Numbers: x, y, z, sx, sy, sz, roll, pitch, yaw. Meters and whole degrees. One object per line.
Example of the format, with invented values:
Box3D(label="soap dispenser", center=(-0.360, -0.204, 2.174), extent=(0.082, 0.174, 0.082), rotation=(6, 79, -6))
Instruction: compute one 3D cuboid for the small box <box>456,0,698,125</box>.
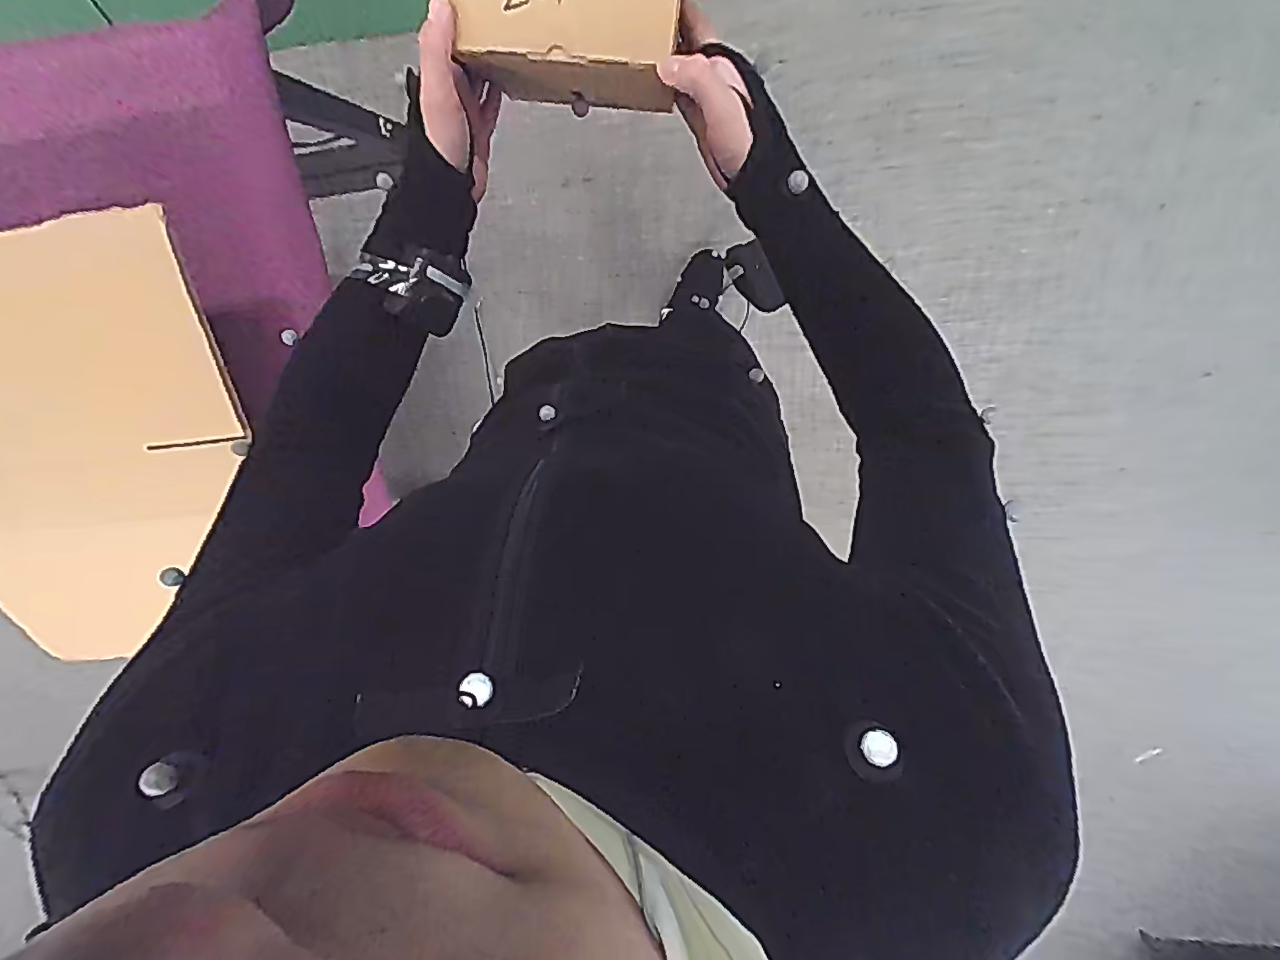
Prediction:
Box3D(label="small box", center=(-0.037, -0.404, 0.425), extent=(0.168, 0.176, 0.179), rotation=(6, 115, 1))
